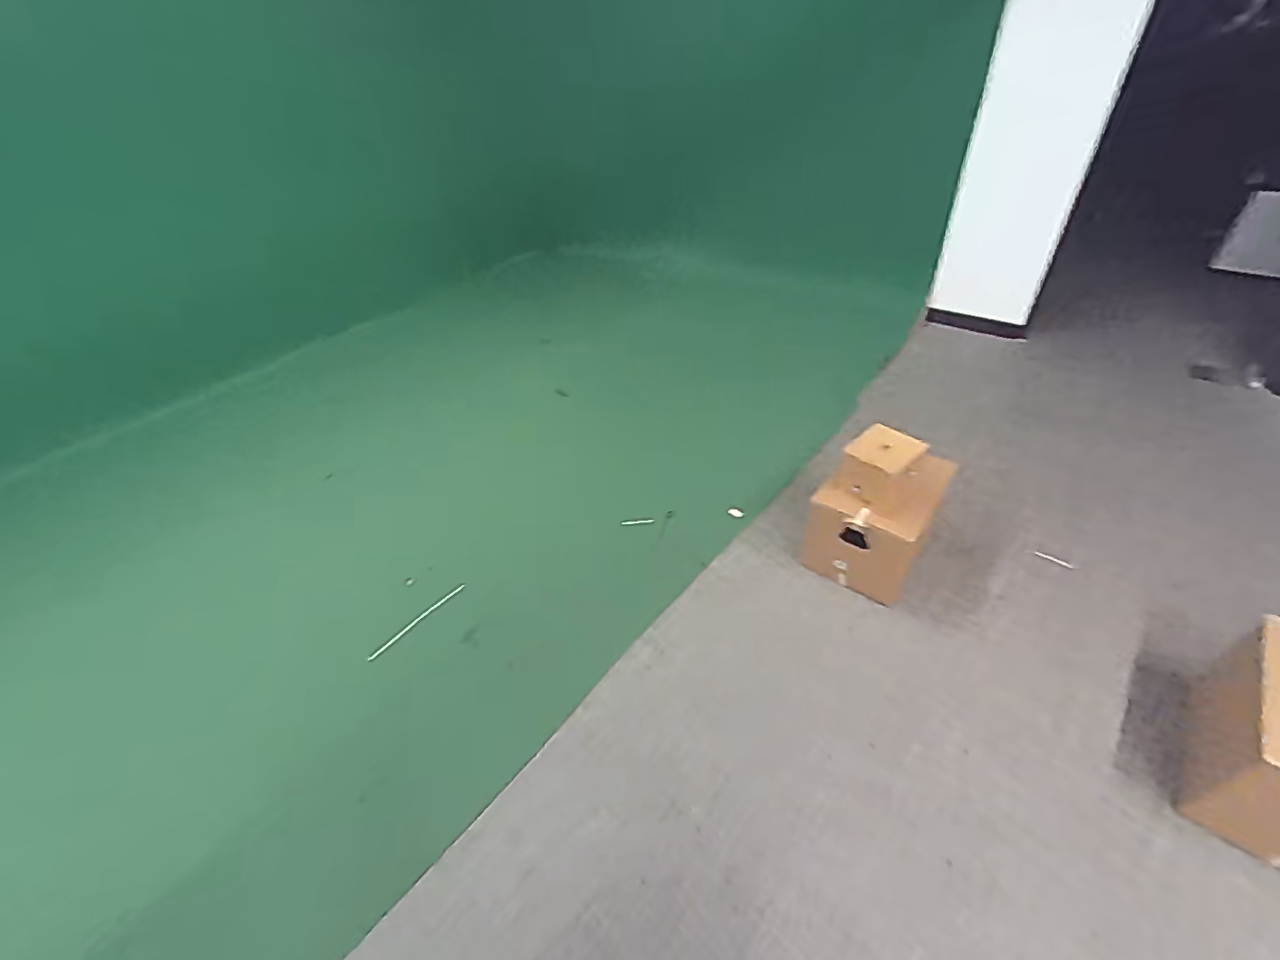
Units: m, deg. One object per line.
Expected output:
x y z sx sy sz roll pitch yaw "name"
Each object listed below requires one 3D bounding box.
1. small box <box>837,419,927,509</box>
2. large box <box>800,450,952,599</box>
0.705 -0.047 1.595 0.179 0.176 0.168 -33 47 -24 "small box"
0.767 0.106 1.782 0.320 0.320 0.408 26 51 31 "large box"
